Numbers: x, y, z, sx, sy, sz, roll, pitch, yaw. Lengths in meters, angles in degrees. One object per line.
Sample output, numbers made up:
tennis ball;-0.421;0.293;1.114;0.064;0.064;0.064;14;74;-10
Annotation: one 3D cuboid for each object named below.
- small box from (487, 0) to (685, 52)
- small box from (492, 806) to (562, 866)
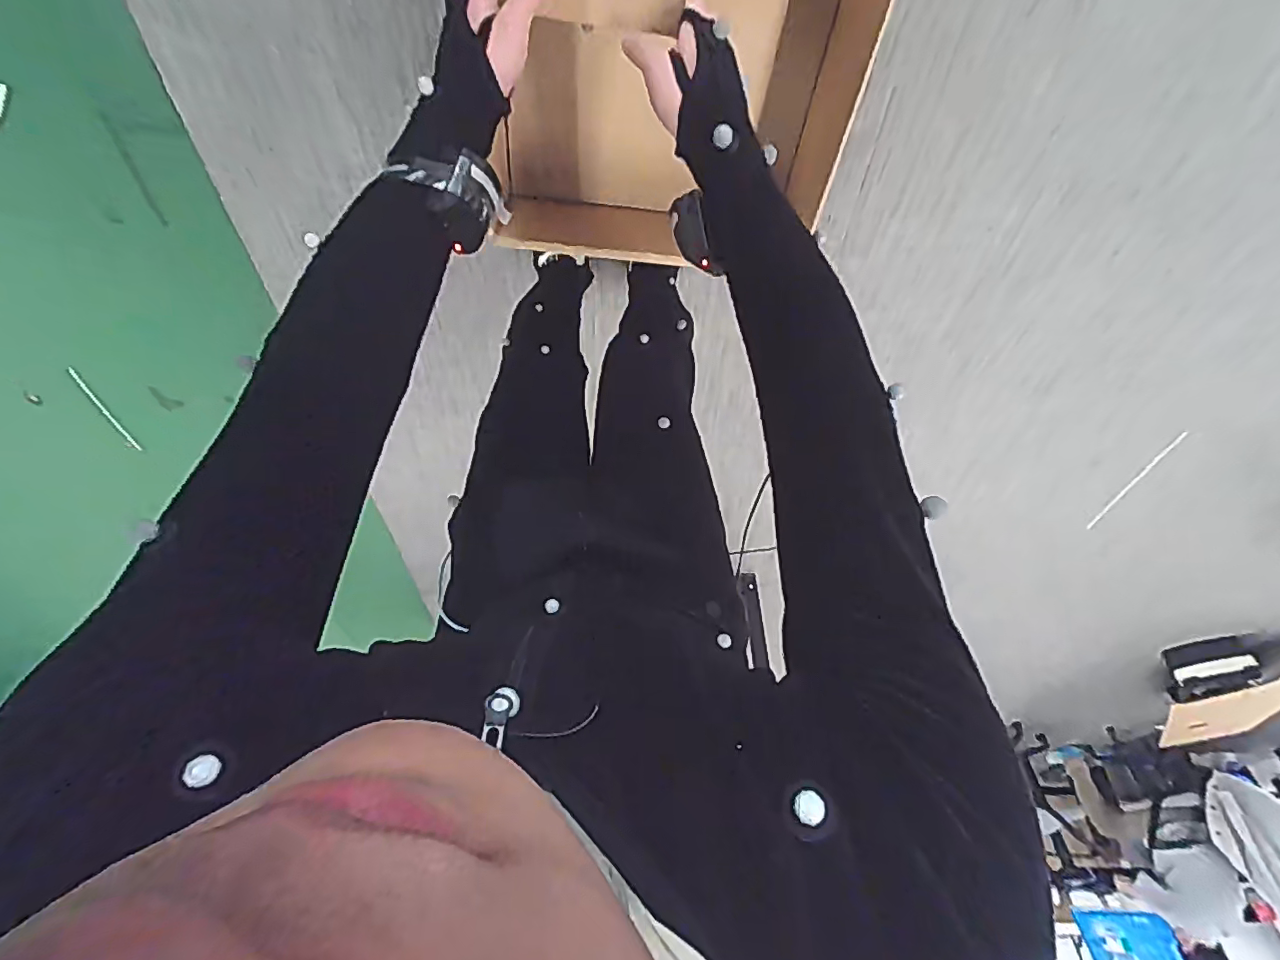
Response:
small box;-0.033;-0.495;0.454;0.168;0.176;0.179;6;135;-6
small box;-0.399;1.262;1.936;0.168;0.176;0.179;-24;132;24
